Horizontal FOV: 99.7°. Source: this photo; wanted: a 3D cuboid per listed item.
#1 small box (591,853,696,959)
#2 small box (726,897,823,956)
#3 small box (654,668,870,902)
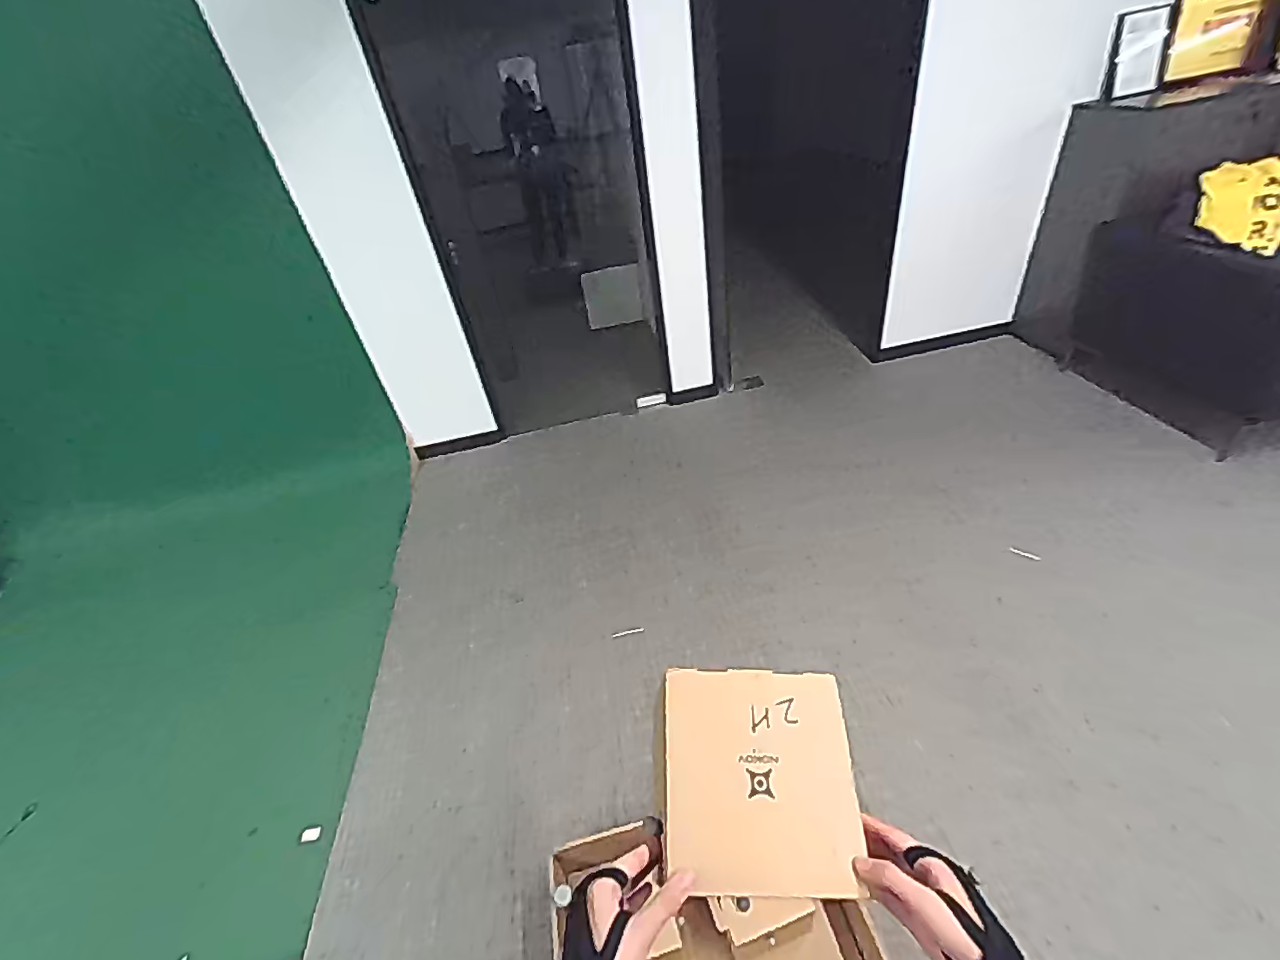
[{"bbox_3d":[0.009,0.922,1.139,0.179,0.176,0.168,-15,40,-6],"label":"small box"},{"bbox_3d":[0.268,0.865,1.147,0.179,0.176,0.168,-18,39,-8],"label":"small box"},{"bbox_3d":[0.102,0.300,0.539,0.168,0.176,0.179,3,56,-1],"label":"small box"}]
